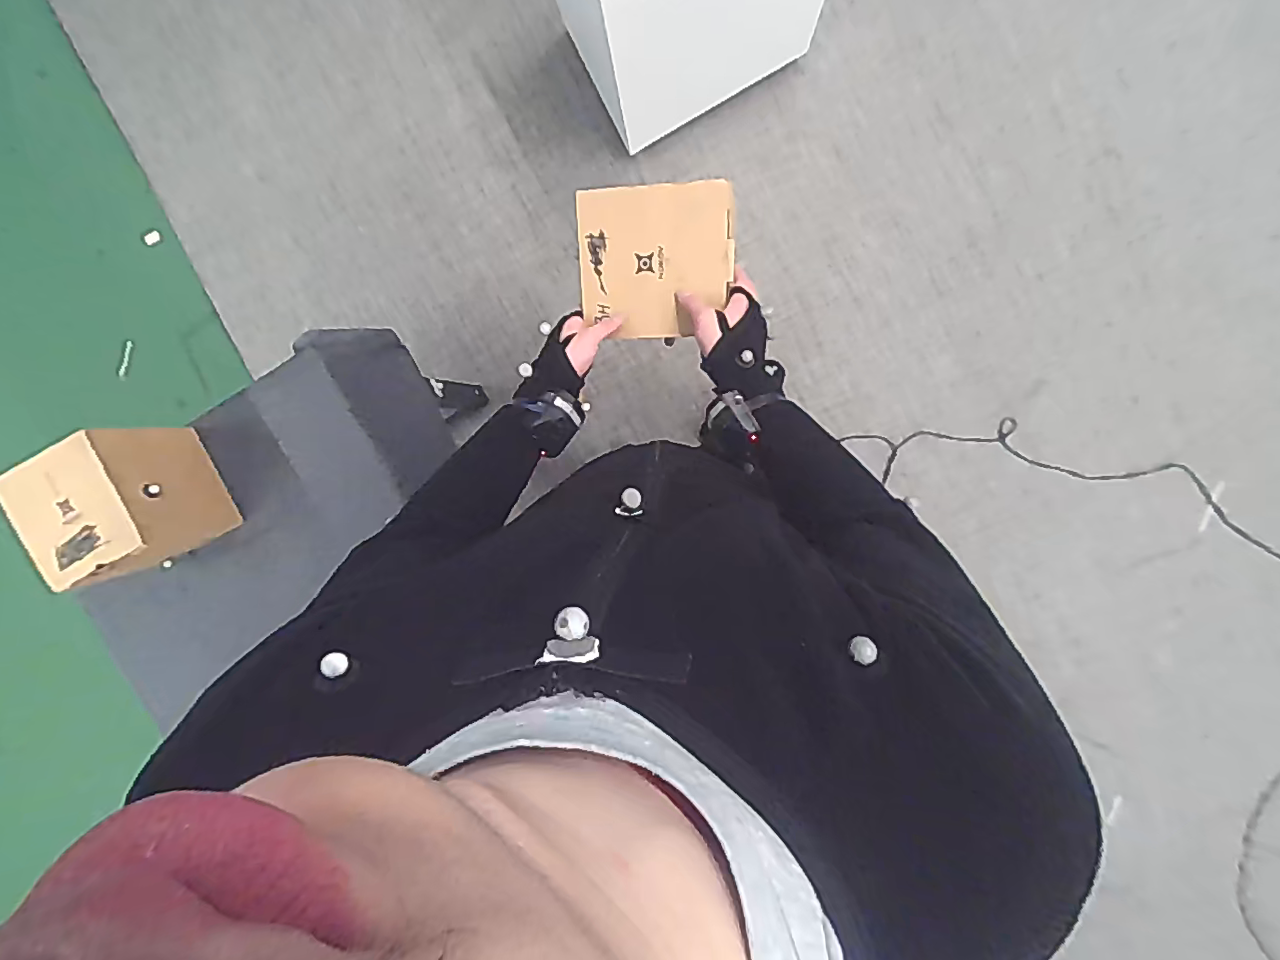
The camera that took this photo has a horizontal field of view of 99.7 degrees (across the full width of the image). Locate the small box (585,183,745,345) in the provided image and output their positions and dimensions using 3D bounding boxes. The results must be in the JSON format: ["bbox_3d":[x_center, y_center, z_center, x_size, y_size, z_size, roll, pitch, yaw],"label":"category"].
[{"bbox_3d":[0.037,-0.260,0.679,0.179,0.176,0.168,0,106,8],"label":"small box"}]

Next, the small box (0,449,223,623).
[{"bbox_3d":[-0.749,0.066,0.760,0.168,0.176,0.179,-27,93,4],"label":"small box"}]
